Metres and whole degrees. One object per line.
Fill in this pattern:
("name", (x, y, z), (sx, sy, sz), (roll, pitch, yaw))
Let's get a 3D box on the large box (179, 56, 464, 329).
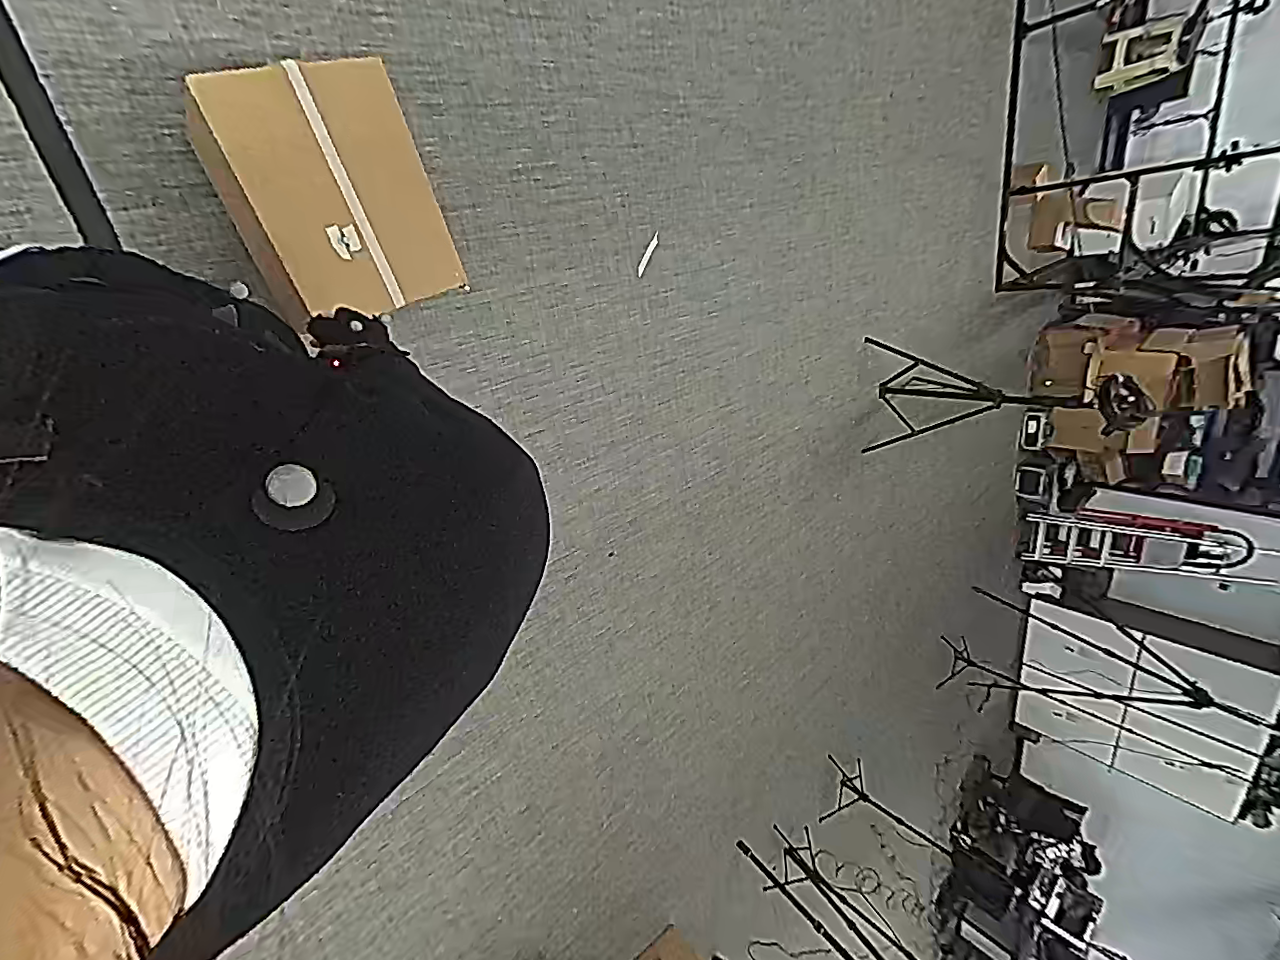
("large box", (-0.630, -0.550, 1.092), (0.320, 0.320, 0.408), (-33, 122, -29))
